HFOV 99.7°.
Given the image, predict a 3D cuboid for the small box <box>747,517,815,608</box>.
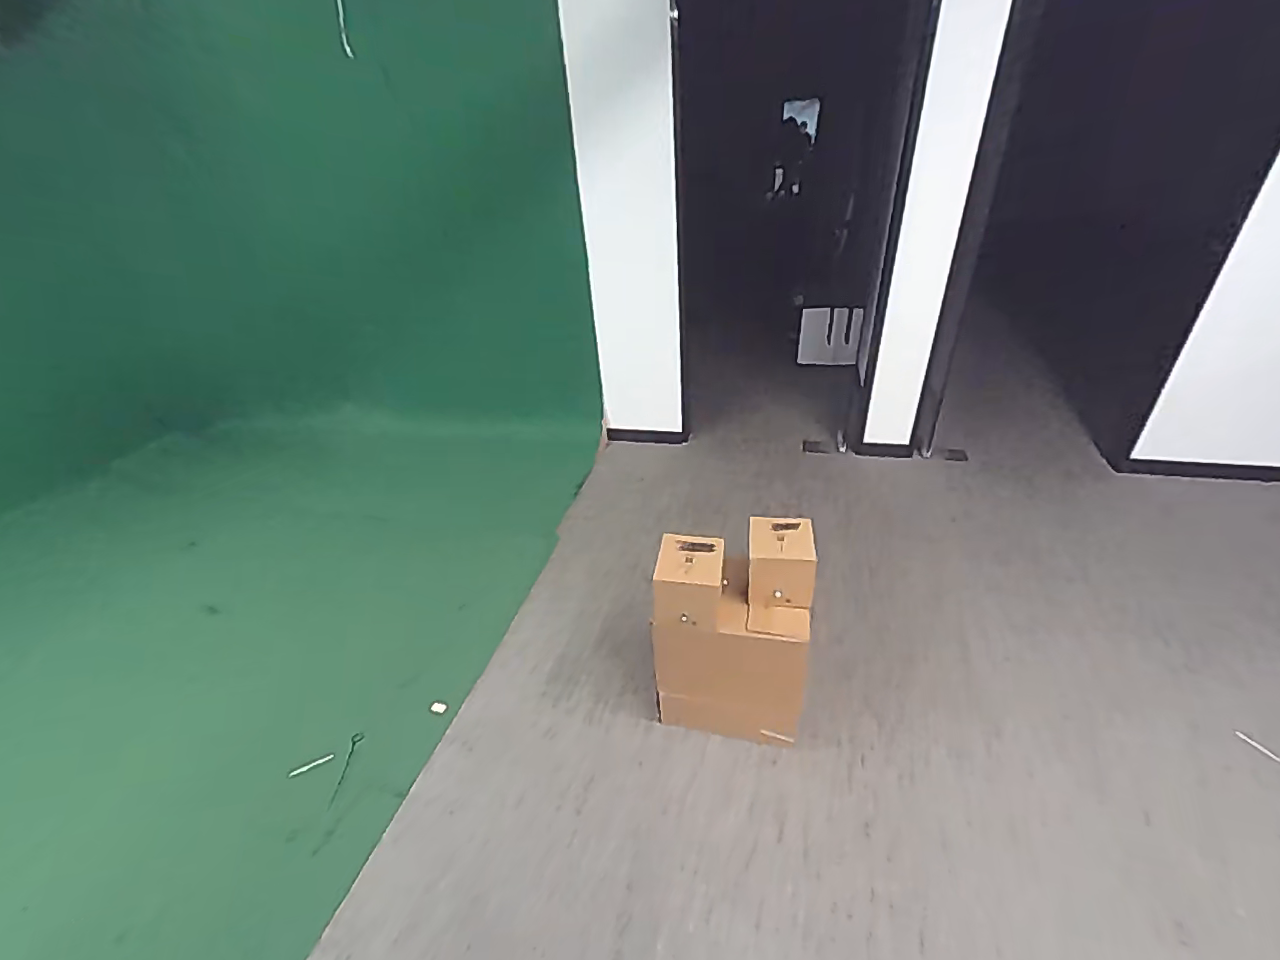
[{"bbox_3d":[0.378,0.222,1.465,0.168,0.176,0.179,1,34,12],"label":"small box"}]
